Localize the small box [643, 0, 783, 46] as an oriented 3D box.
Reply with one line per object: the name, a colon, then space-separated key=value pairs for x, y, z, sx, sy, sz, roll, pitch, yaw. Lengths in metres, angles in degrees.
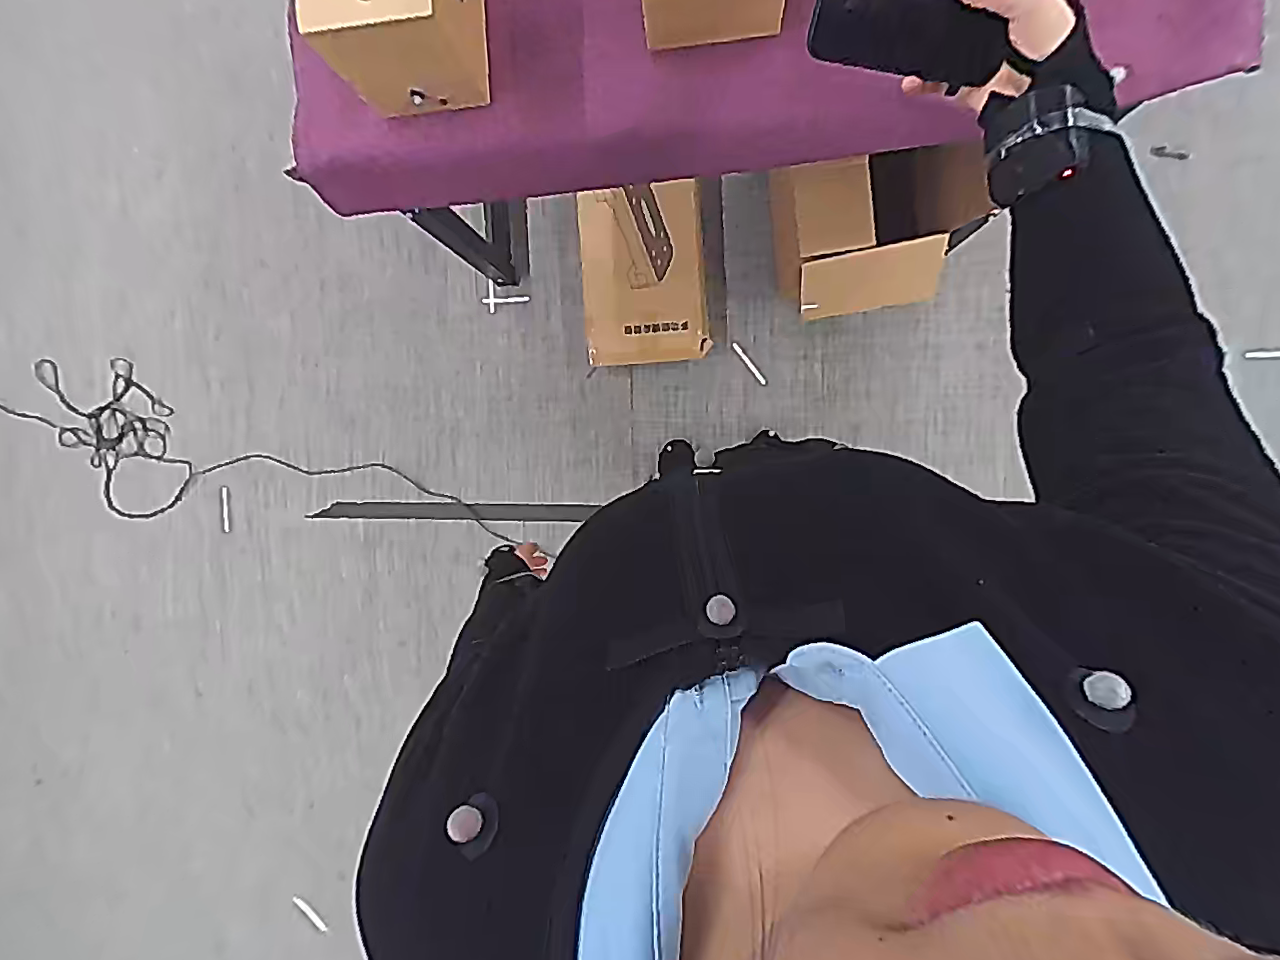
small box: x=0.086 y=-0.657 z=0.629 sx=0.179 sy=0.176 sz=0.168 roll=-3 pitch=91 yaw=7
